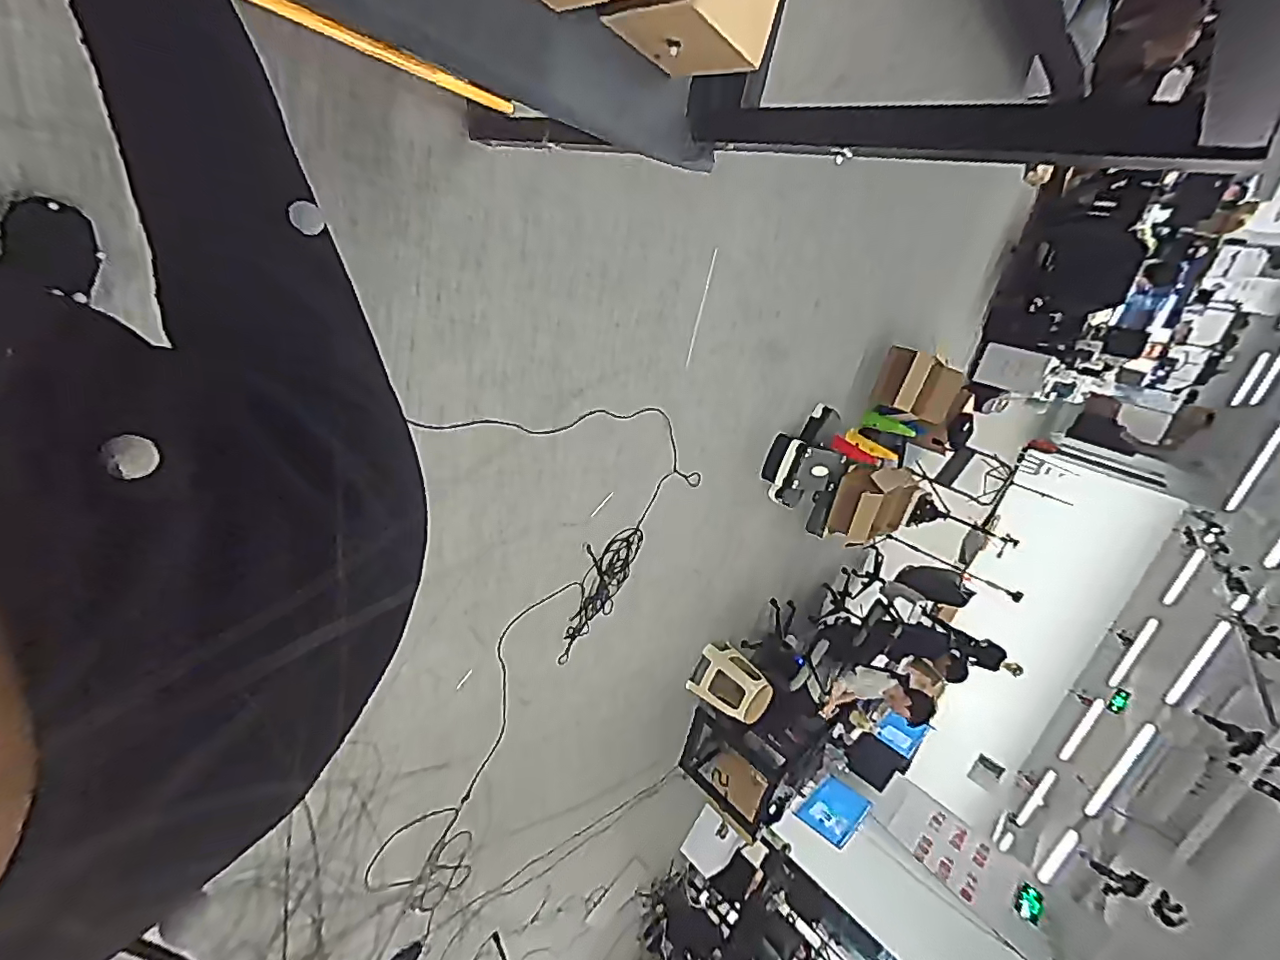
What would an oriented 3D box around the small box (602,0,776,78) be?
[{"bbox_3d":[0.071,-0.674,0.723,0.168,0.176,0.179,-4,115,-48],"label":"small box"}]
